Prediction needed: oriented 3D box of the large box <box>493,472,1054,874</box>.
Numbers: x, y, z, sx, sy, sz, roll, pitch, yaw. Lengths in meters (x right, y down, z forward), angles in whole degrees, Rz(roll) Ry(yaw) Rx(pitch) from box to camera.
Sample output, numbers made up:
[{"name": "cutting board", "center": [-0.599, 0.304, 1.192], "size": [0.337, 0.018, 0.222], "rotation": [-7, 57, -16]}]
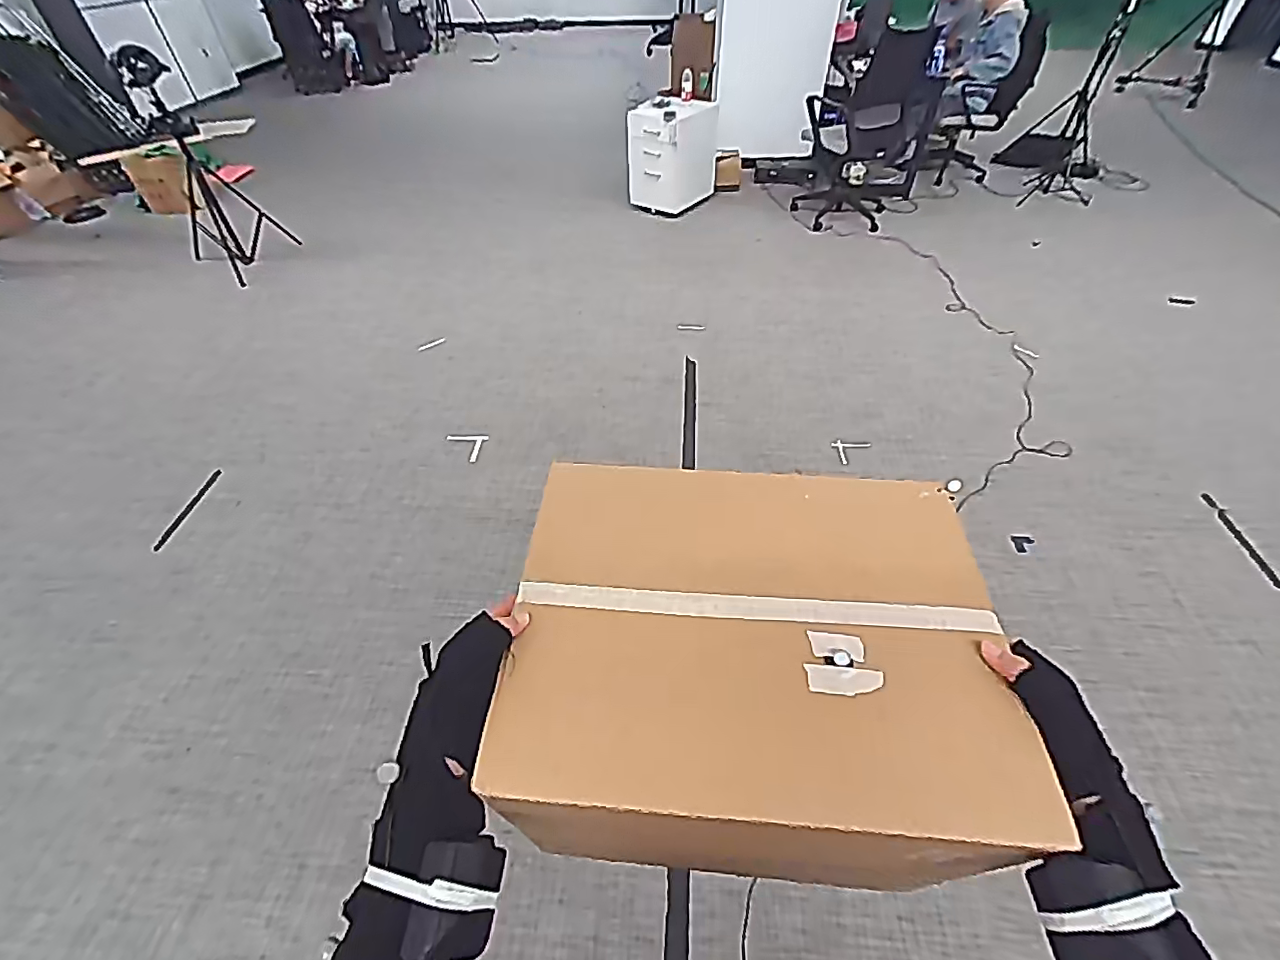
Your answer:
[{"name": "large box", "center": [0.099, 0.211, 0.588], "size": [0.408, 0.320, 0.320], "rotation": [3, 50, 4]}]
